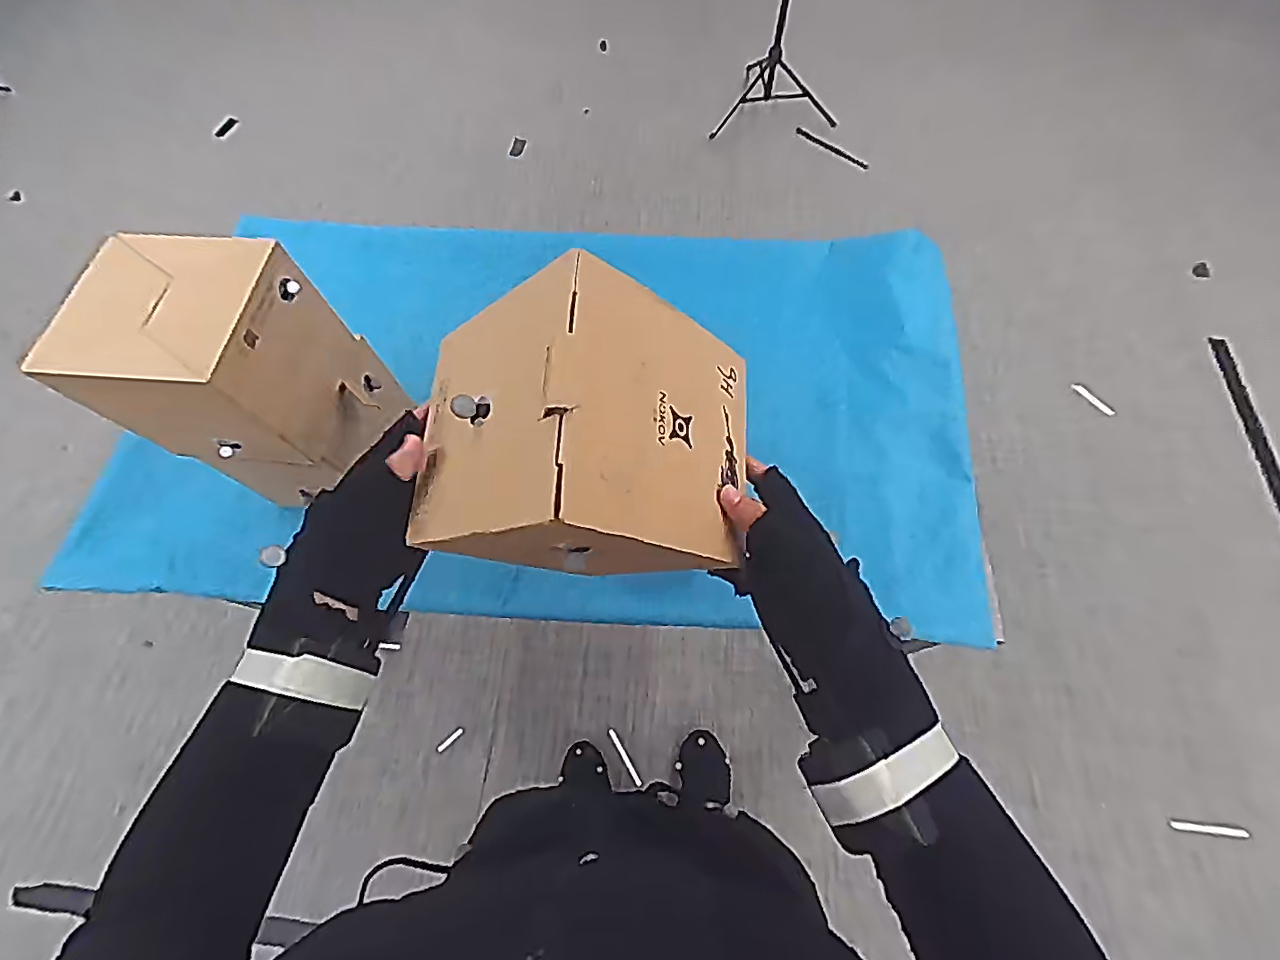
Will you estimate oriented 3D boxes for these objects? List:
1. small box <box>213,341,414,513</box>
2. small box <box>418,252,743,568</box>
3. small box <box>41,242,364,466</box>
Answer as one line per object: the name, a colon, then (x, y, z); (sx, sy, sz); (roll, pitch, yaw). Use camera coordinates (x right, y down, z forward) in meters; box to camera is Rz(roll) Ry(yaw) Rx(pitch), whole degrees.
small box: (-0.430, -0.071, 0.726); (0.168, 0.176, 0.179); (5, 68, 7)
small box: (-0.043, -0.026, 0.404); (0.176, 0.179, 0.168); (-13, 70, 43)
small box: (-0.435, -0.127, 0.568); (0.179, 0.176, 0.168); (4, 66, 4)
